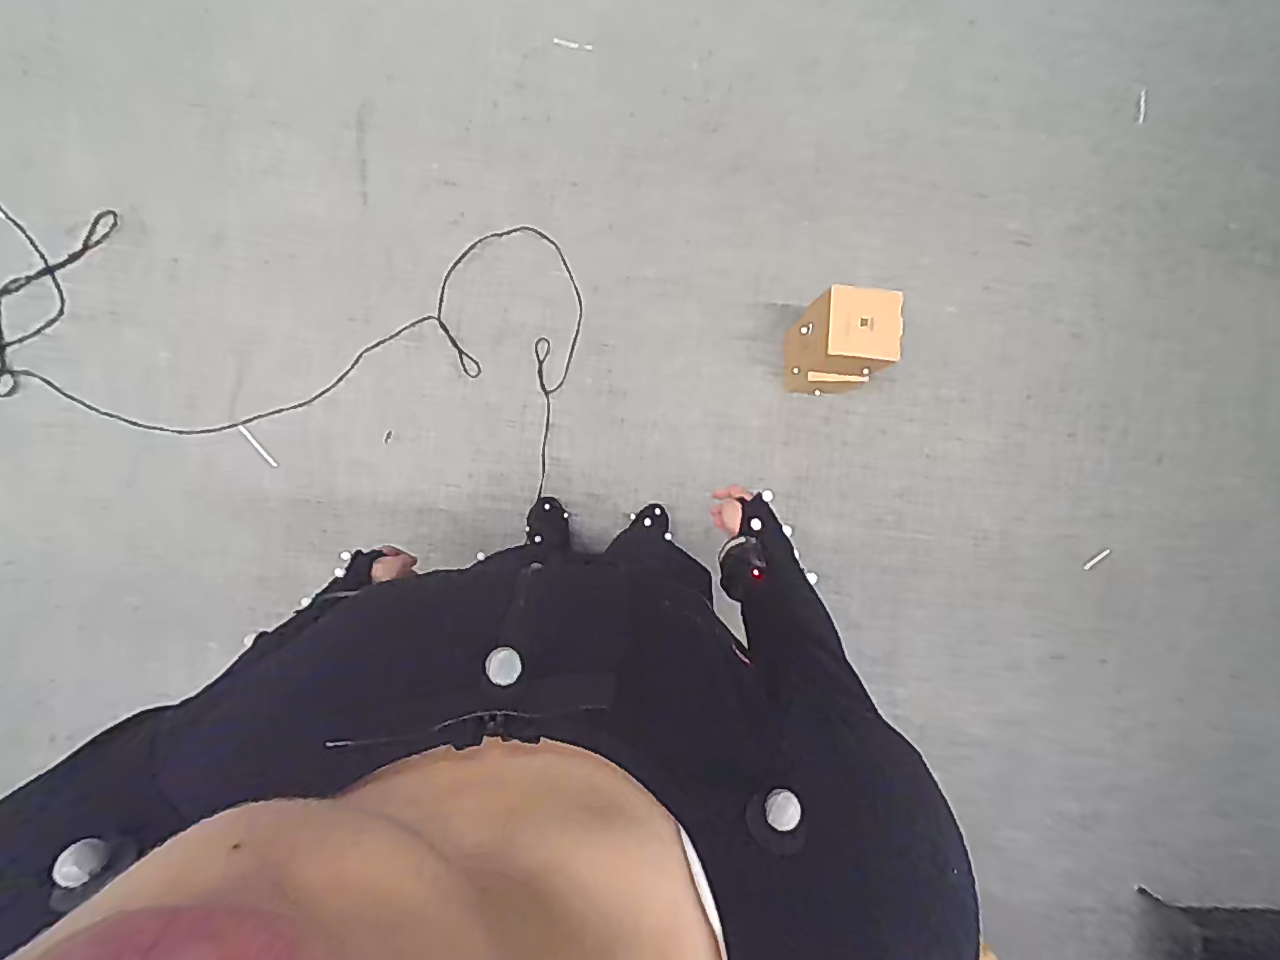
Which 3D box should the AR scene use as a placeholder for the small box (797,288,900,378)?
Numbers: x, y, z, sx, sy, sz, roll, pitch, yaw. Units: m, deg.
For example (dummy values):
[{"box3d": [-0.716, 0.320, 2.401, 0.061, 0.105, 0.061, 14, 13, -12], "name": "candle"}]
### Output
[{"box3d": [0.505, -0.352, 1.323, 0.179, 0.176, 0.168, 4, 87, -5], "name": "small box"}]
